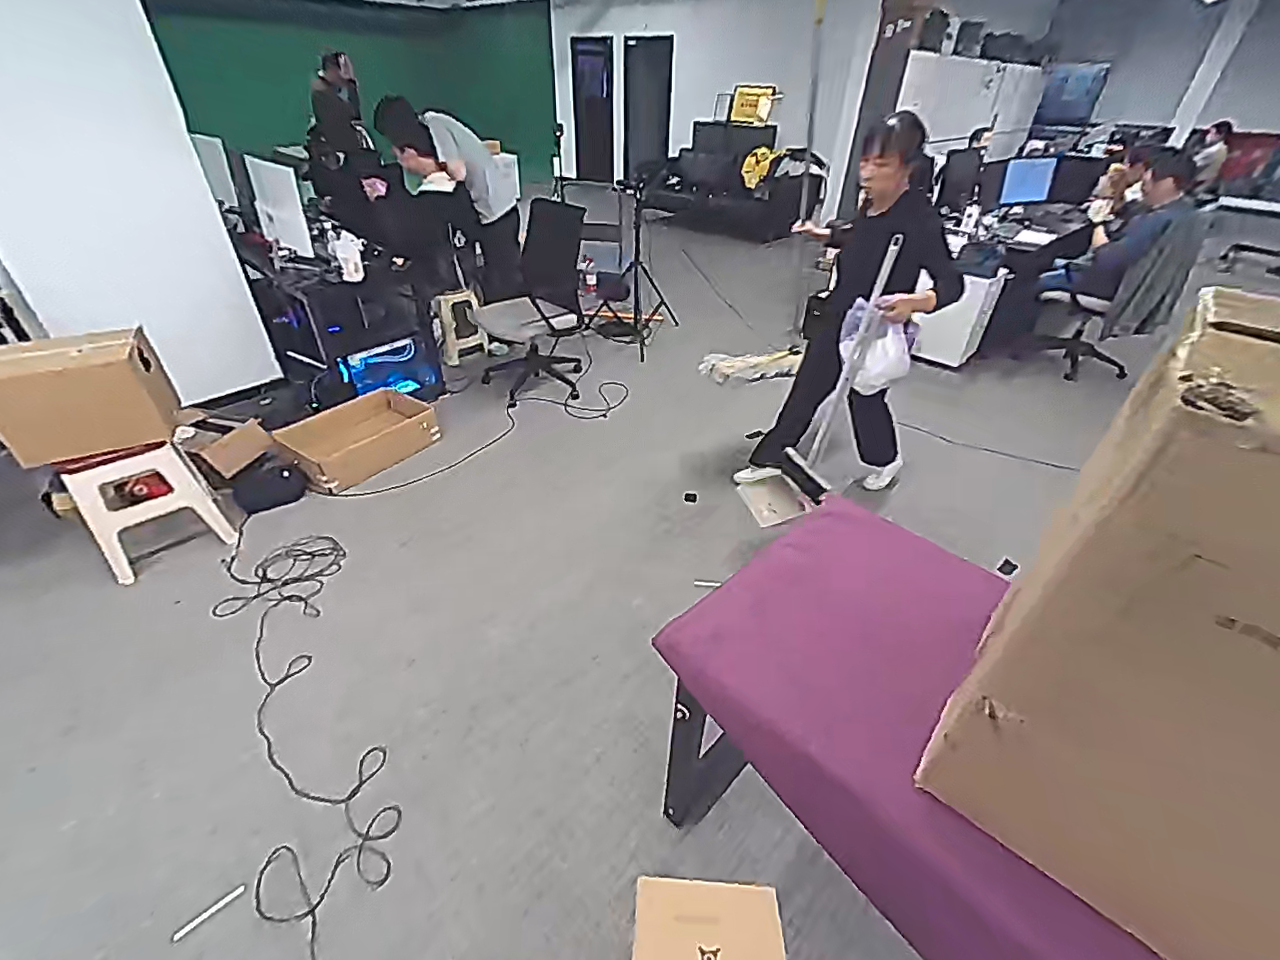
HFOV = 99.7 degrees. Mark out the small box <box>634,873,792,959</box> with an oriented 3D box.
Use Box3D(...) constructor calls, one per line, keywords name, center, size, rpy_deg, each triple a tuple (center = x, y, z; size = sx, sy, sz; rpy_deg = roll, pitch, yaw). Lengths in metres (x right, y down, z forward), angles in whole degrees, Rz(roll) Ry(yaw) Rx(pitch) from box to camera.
Box3D(name="small box", center=(0.073, 0.572, 0.578), size=(0.168, 0.176, 0.179), rpy_deg=(3, 16, 3))
